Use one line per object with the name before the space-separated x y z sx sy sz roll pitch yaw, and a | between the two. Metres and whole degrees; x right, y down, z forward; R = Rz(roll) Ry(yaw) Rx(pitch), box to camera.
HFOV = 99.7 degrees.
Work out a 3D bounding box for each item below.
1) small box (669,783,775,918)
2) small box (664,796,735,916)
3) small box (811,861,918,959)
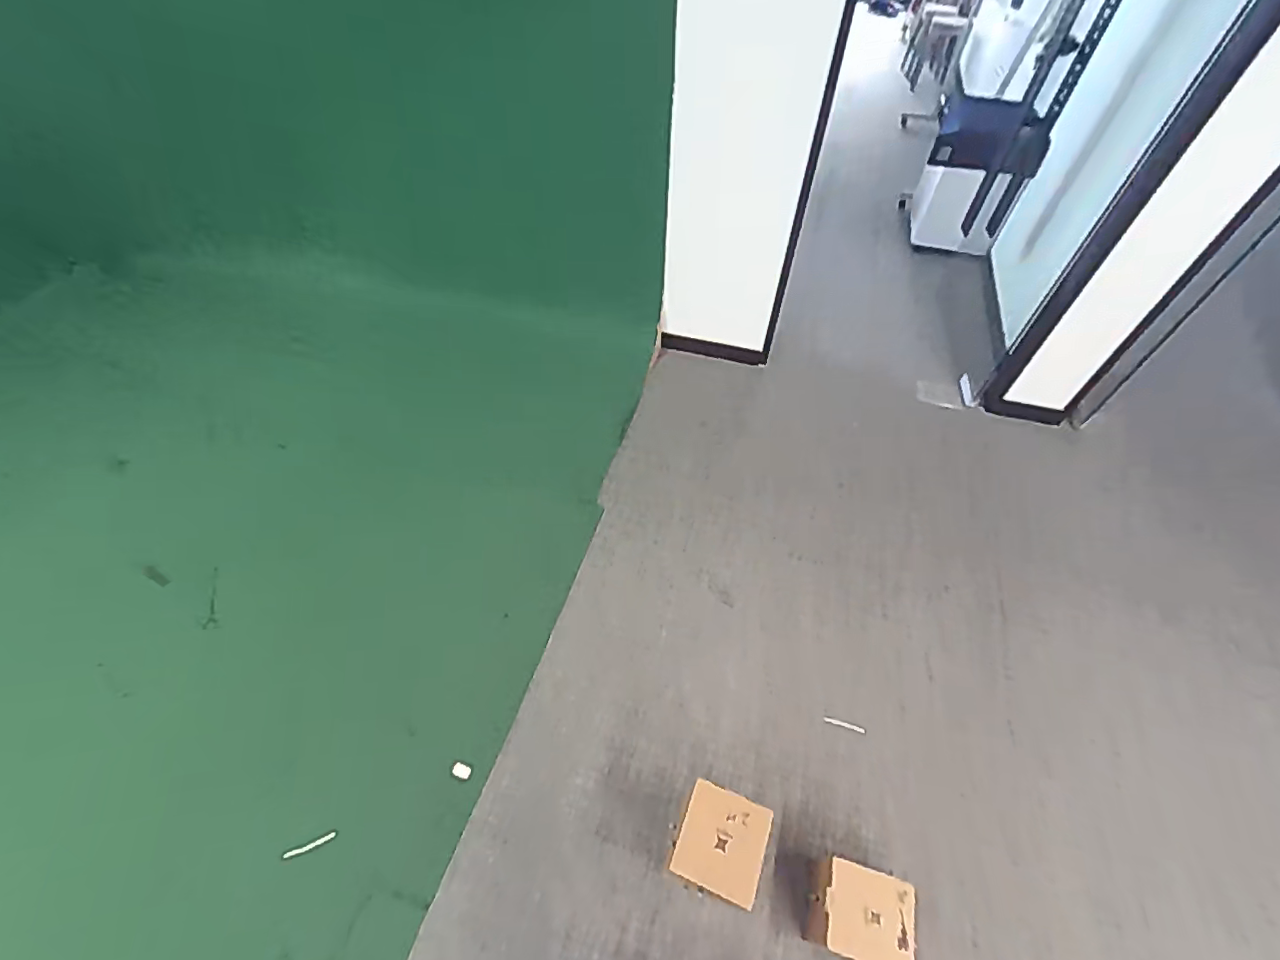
small box | 0.165 0.767 1.118 0.168 0.176 0.179 19 53 14
small box | 0.160 0.869 1.248 0.168 0.176 0.179 17 52 13
small box | 0.482 0.962 1.174 0.179 0.176 0.168 14 53 12
